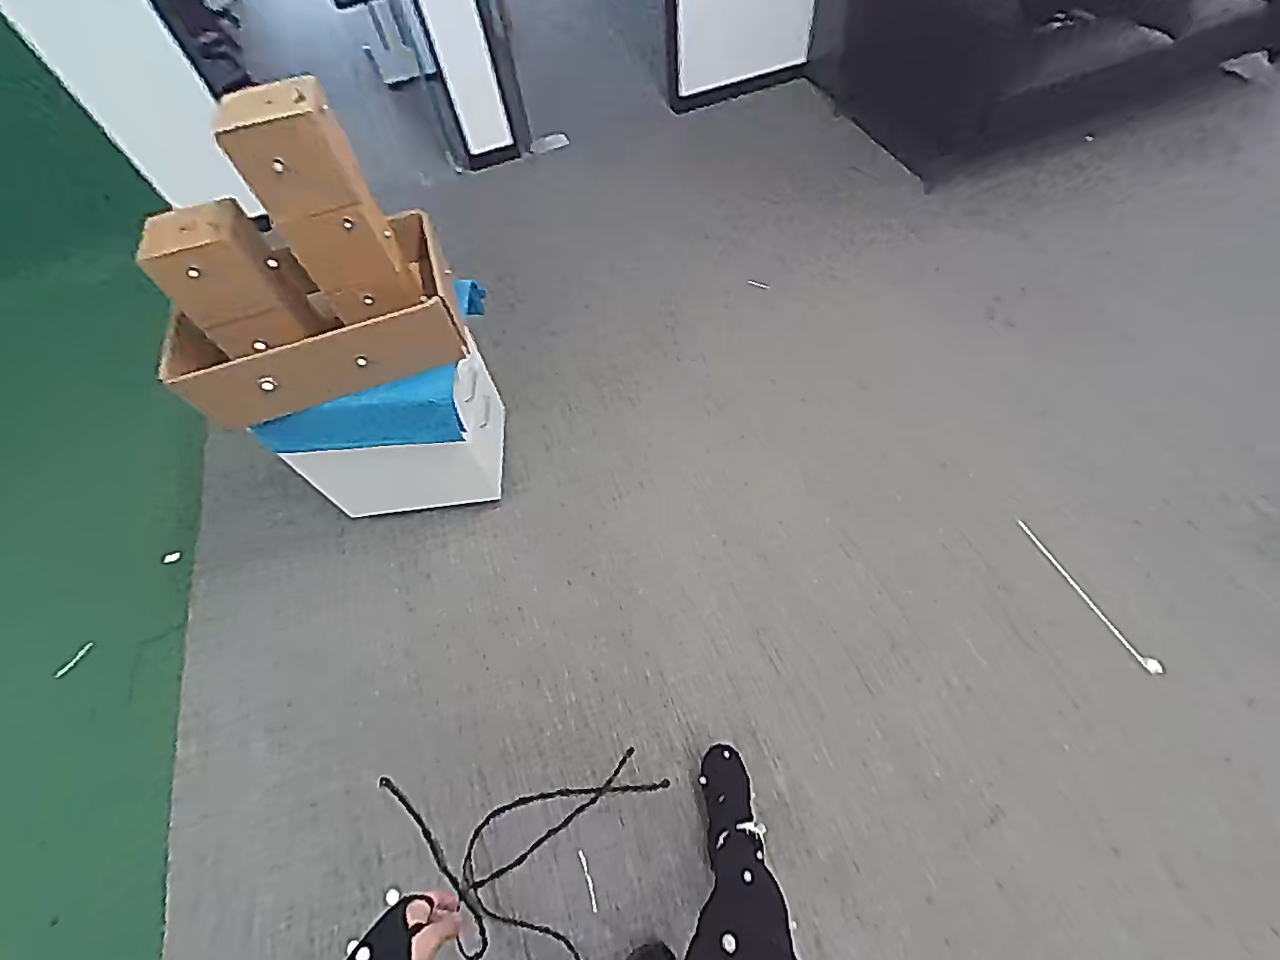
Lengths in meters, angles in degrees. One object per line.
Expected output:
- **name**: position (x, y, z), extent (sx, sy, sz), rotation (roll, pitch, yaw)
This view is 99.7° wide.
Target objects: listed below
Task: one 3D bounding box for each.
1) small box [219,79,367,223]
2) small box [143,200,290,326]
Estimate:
- **small box**: position (-0.660, -0.631, 1.049), extent (0.179, 0.176, 0.168), rotation (-18, 58, -4)
- **small box**: position (-0.890, -0.456, 1.153), extent (0.179, 0.176, 0.168), rotation (-18, 58, -7)
